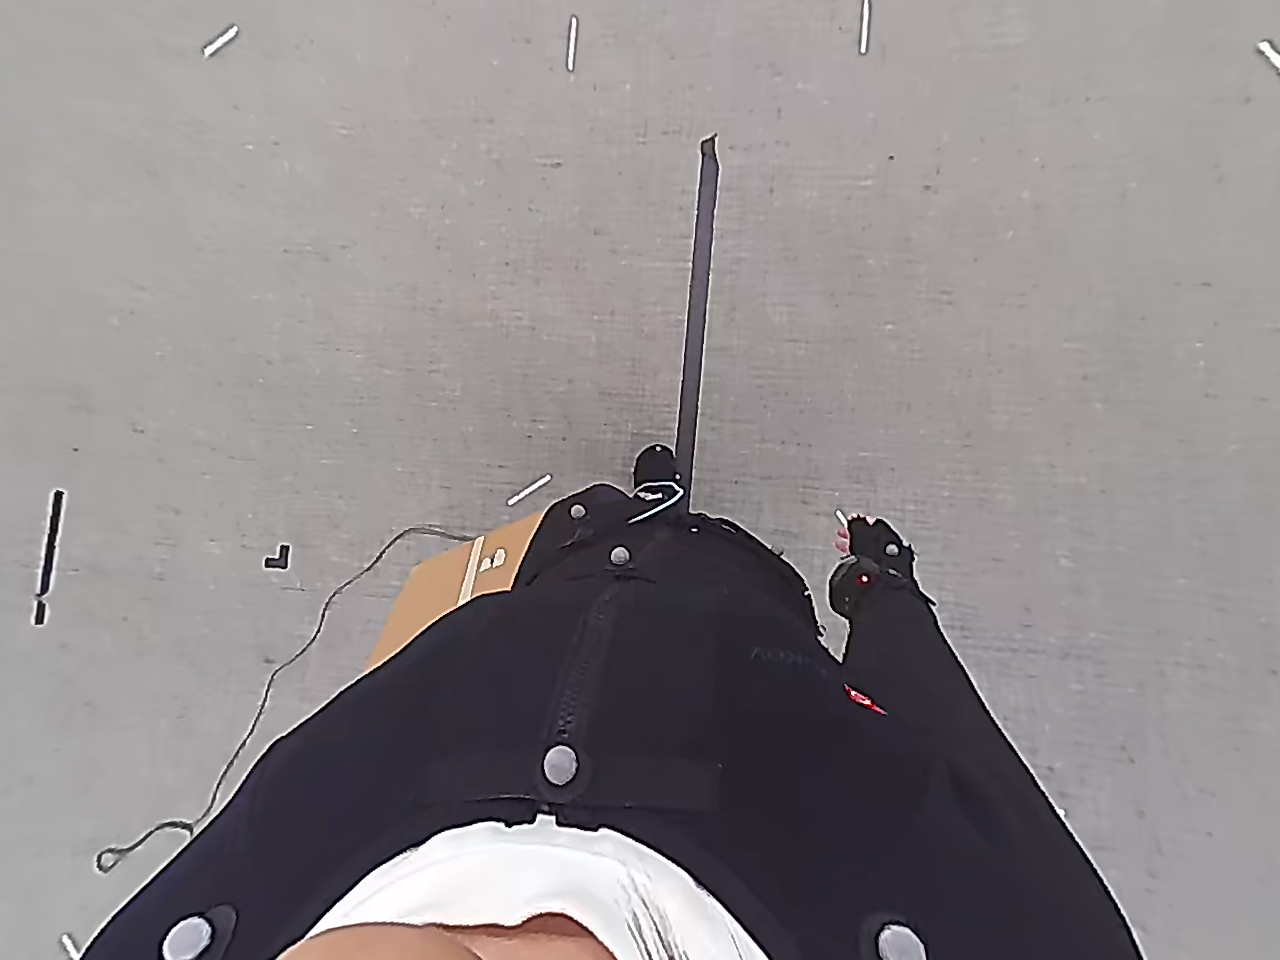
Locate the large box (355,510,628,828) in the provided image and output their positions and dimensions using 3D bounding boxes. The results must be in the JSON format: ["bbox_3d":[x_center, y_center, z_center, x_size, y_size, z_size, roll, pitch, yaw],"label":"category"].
[{"bbox_3d":[-0.237,0.317,0.997,0.320,0.408,0.320,-23,112,2],"label":"large box"}]
